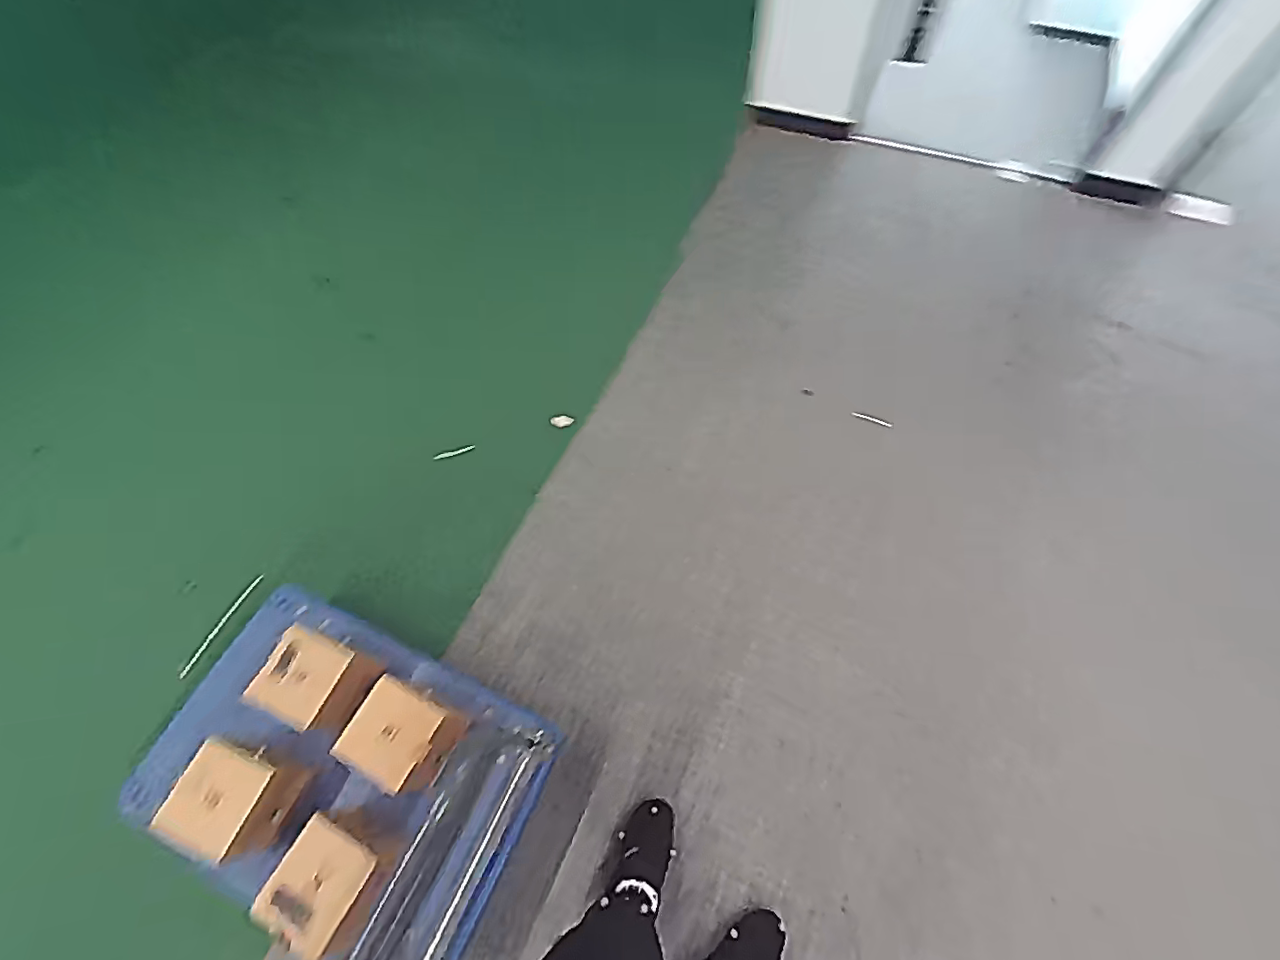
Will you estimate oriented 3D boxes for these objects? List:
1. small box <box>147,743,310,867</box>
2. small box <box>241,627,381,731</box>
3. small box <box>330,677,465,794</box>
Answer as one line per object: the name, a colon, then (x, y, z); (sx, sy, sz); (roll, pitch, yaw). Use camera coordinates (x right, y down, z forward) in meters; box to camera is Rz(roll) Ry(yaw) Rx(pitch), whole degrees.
small box: (-0.847, 0.670, 1.136); (0.179, 0.176, 0.168); (19, 65, 11)
small box: (-0.740, 0.460, 1.236); (0.179, 0.176, 0.168); (21, 67, 10)
small box: (-0.519, 0.557, 1.181); (0.179, 0.176, 0.168); (24, 67, 12)
